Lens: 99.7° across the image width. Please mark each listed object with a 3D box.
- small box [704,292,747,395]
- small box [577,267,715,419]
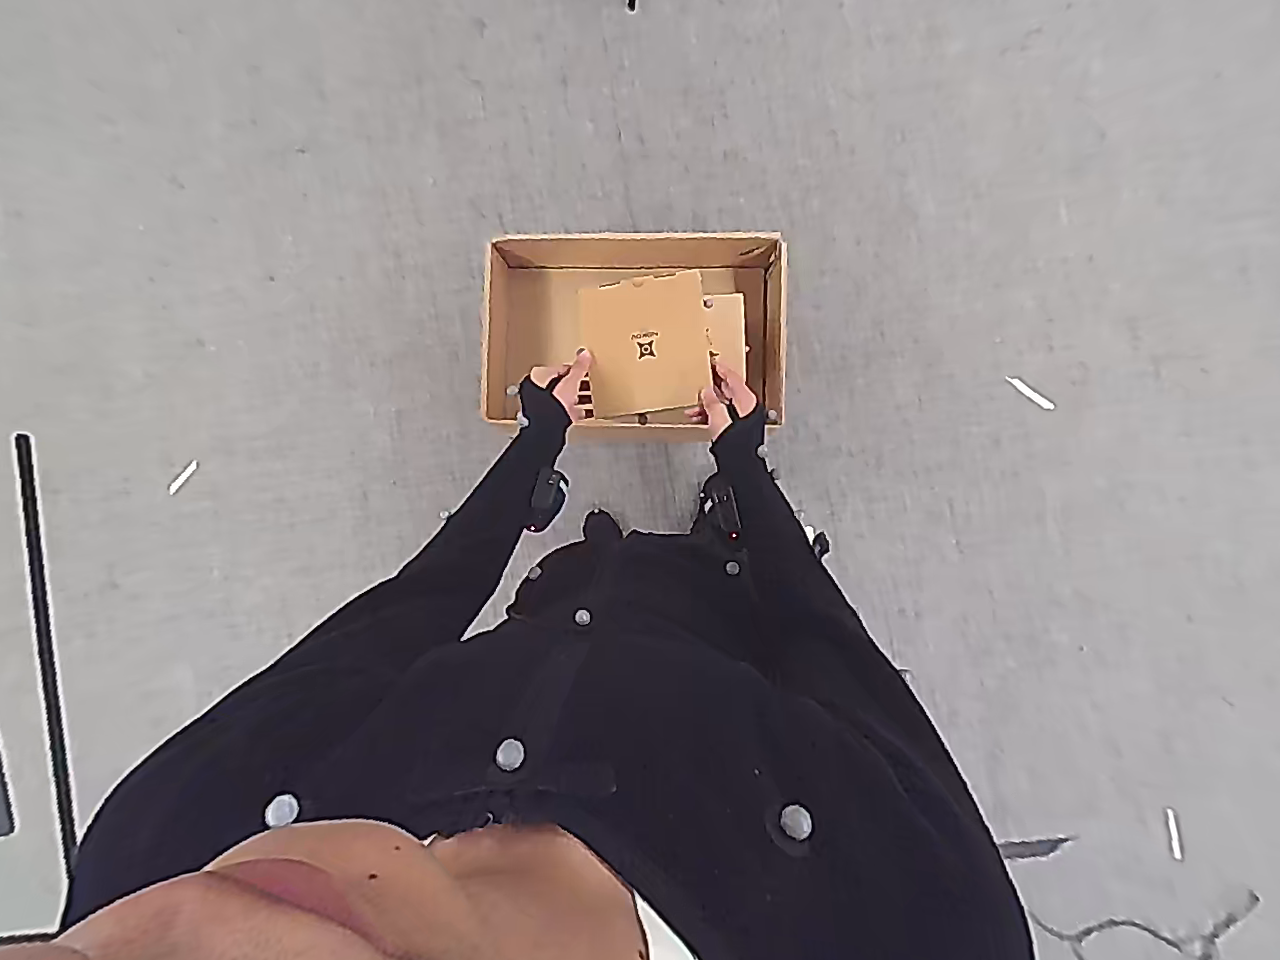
[{"bbox_3d":[0.129,-0.274,1.125,0.168,0.176,0.179,-1,88,3],"label":"small box"},{"bbox_3d":[0.015,-0.184,0.779,0.168,0.176,0.179,-7,94,5],"label":"small box"}]
